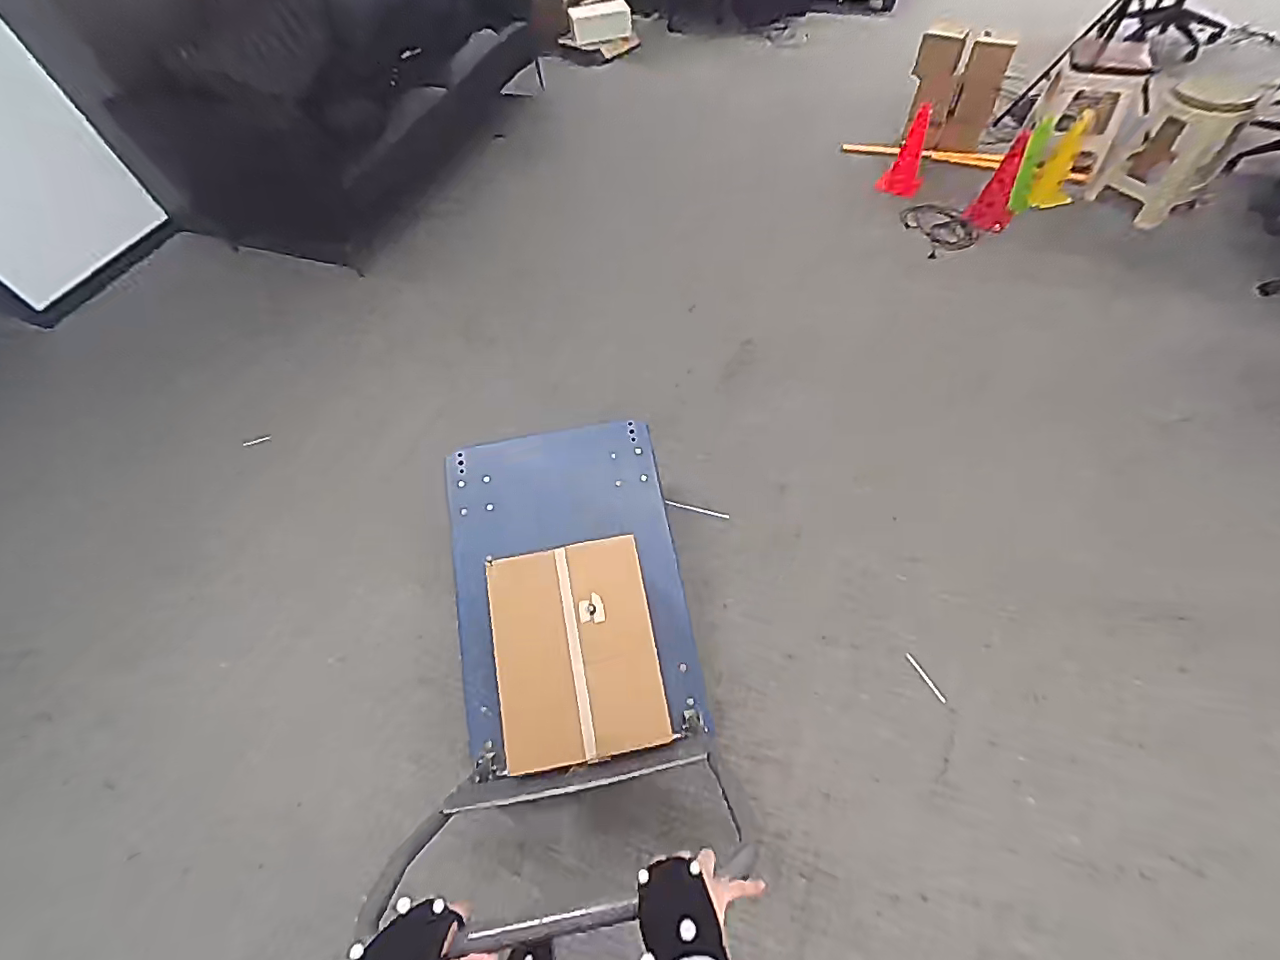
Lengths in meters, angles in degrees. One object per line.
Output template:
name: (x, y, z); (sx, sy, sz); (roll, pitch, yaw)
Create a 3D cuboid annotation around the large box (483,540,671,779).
large box: (-0.132, 0.387, 1.205); (0.320, 0.320, 0.408); (-11, 71, -5)
